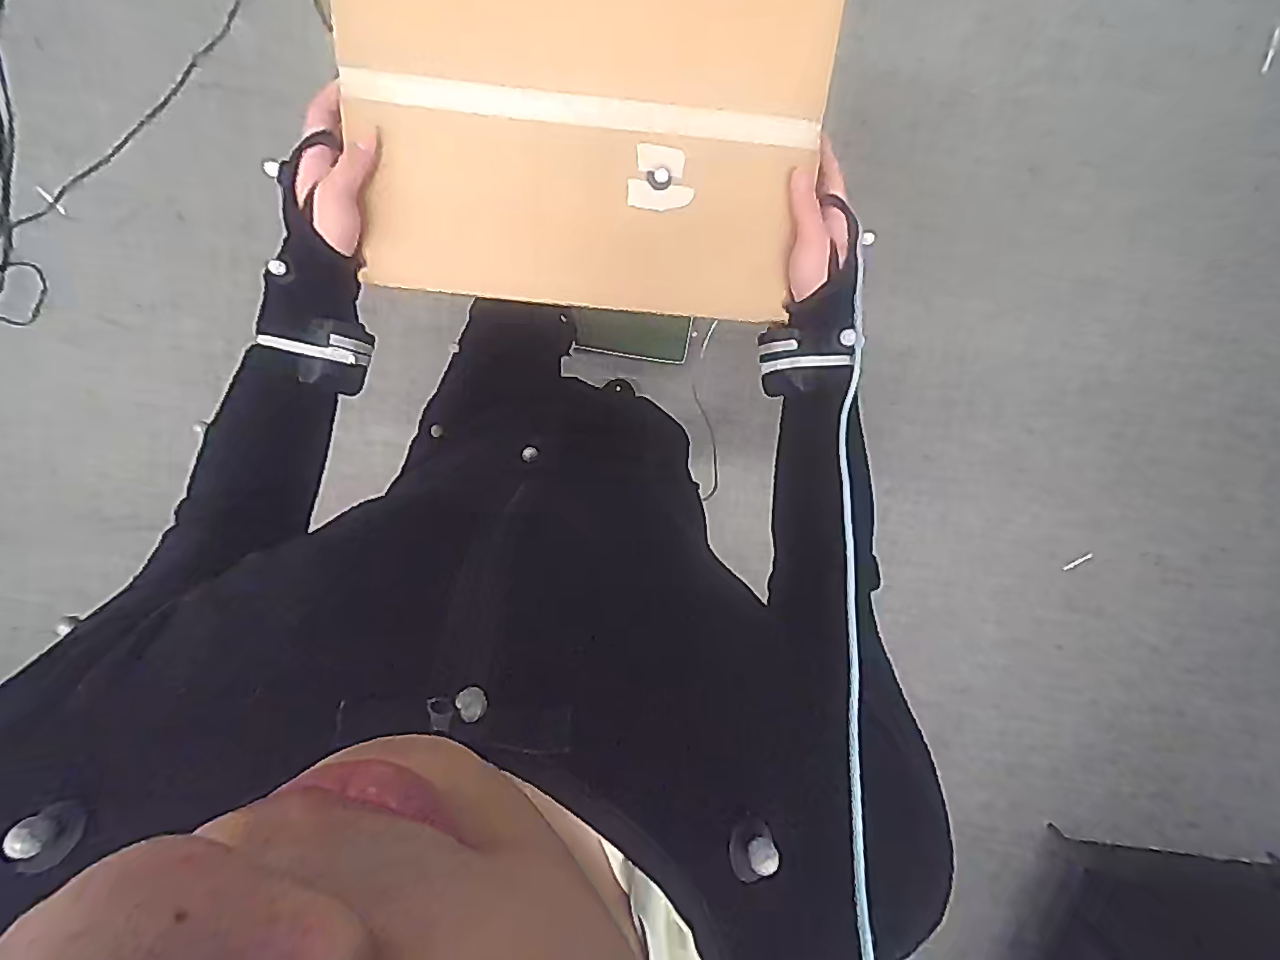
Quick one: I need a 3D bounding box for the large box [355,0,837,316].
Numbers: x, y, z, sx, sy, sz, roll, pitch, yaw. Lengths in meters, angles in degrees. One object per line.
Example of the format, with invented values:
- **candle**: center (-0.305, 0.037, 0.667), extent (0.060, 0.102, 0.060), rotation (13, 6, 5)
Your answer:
- **large box**: center (-0.049, -0.364, 0.612), extent (0.408, 0.320, 0.320), rotation (4, 109, -4)
